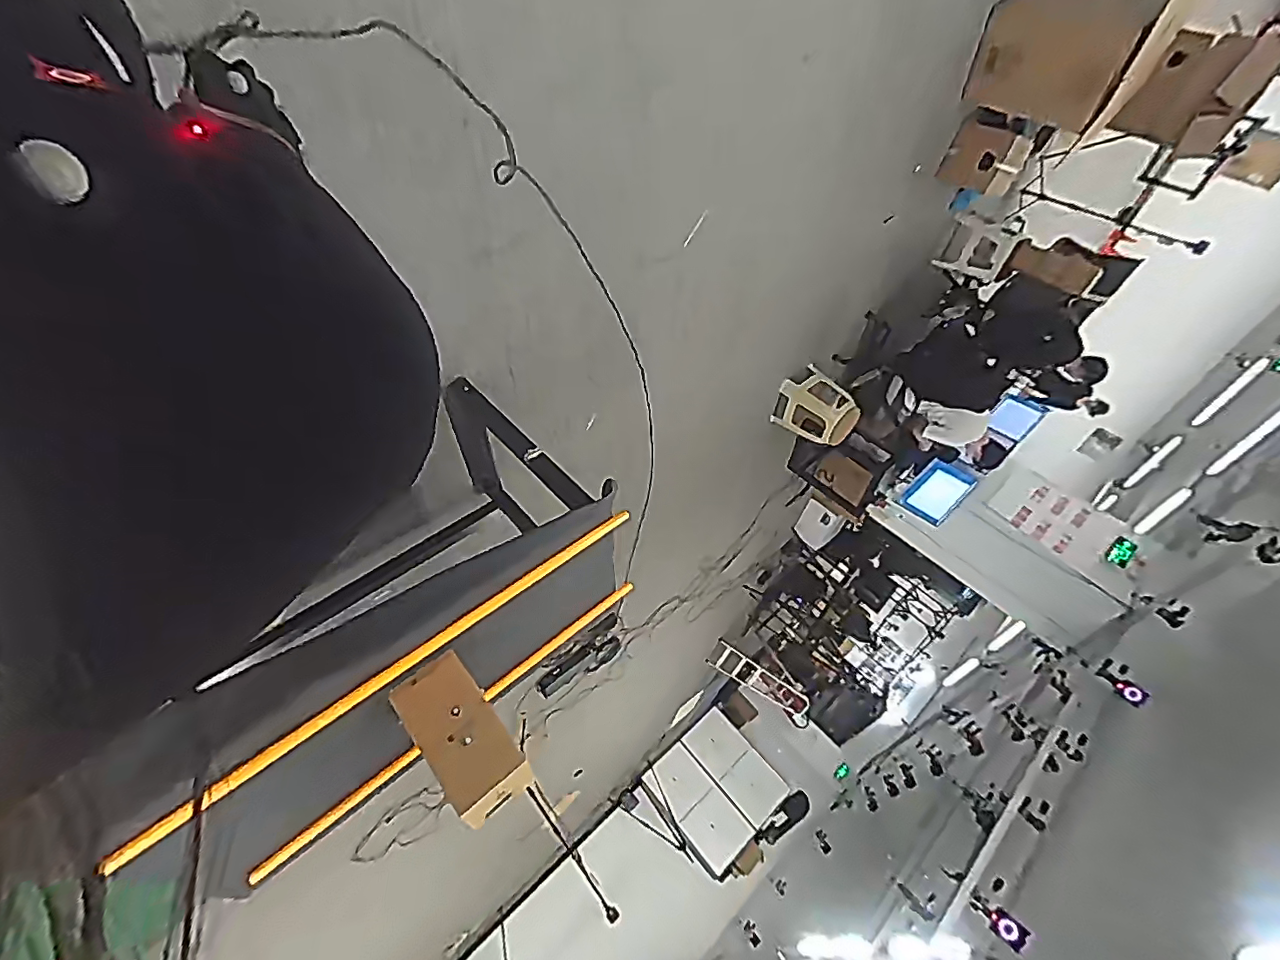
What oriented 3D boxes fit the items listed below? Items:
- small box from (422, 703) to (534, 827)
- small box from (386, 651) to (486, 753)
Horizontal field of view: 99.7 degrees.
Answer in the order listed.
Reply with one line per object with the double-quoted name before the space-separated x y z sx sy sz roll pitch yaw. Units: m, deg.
"small box" -0.362 0.637 1.219 0.168 0.176 0.179 -34 148 -27
"small box" -0.474 0.543 1.294 0.168 0.176 0.179 -34 150 -28
